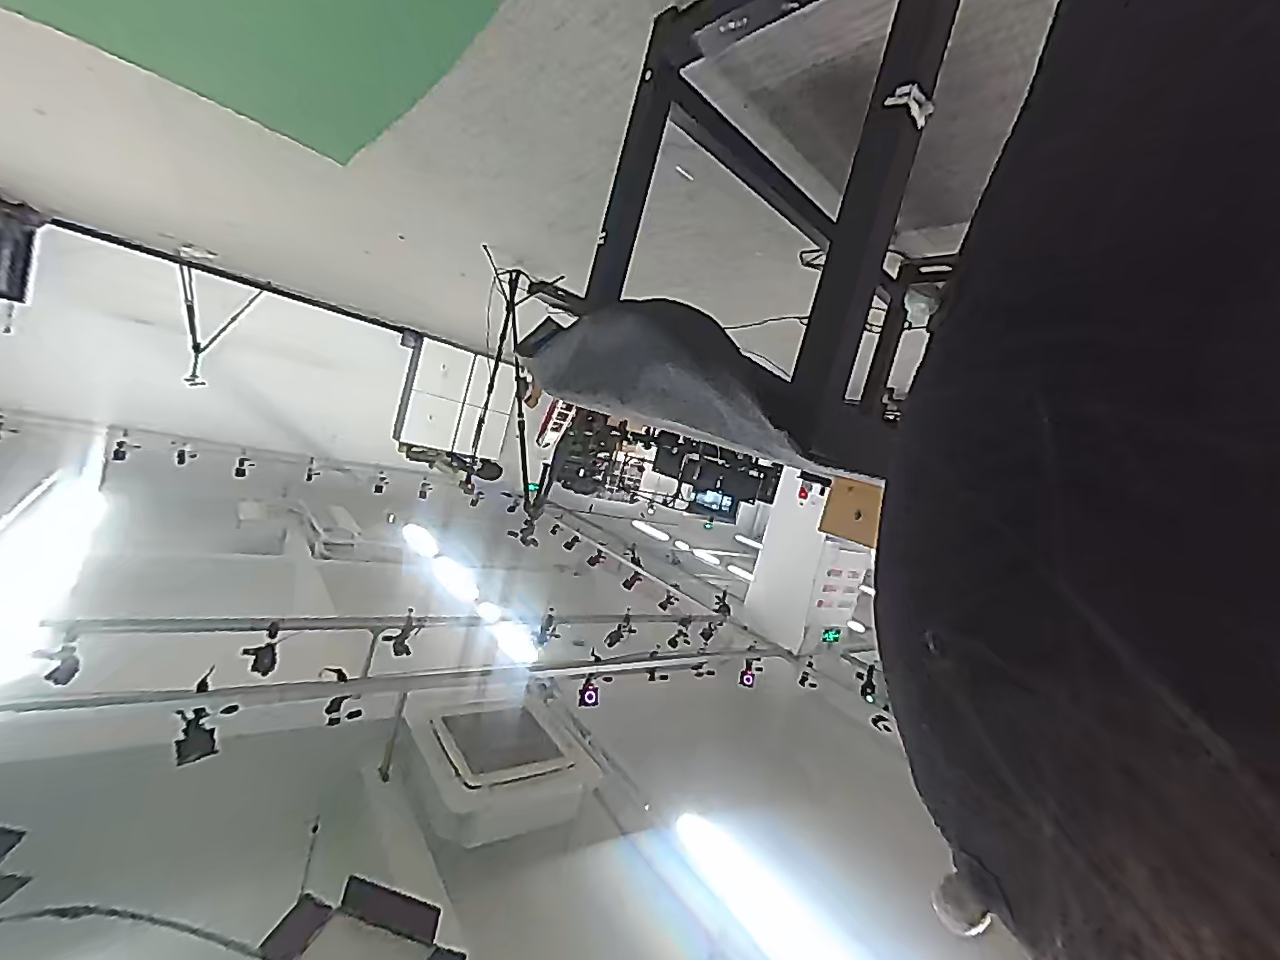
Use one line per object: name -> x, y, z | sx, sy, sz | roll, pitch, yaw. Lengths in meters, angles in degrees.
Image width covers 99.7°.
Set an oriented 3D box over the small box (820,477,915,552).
small box -> 0.642, 0.095, 1.525 | 0.179, 0.176, 0.168 | 11, -175, -39
